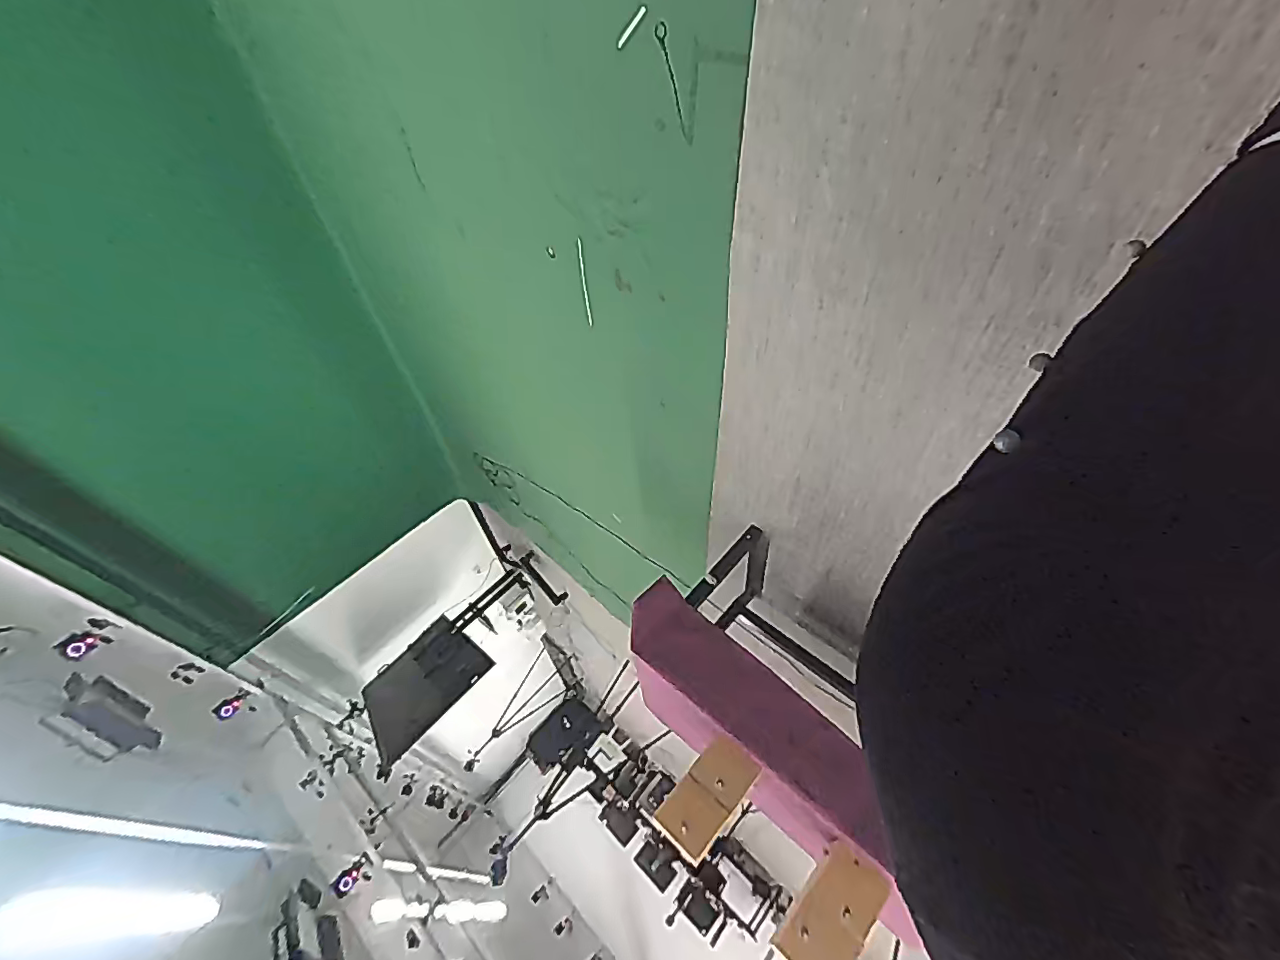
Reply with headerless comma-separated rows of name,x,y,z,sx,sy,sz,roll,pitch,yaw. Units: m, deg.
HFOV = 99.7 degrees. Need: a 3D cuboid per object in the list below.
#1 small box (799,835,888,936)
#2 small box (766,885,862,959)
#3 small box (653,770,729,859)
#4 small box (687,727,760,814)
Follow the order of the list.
small box,0.593,1.174,1.577,0.168,0.176,0.179,34,152,27
small box,0.481,1.273,1.509,0.179,0.176,0.168,35,152,26
small box,0.162,1.051,1.713,0.179,0.176,0.168,33,151,28
small box,0.275,0.955,1.780,0.179,0.176,0.168,35,152,28
